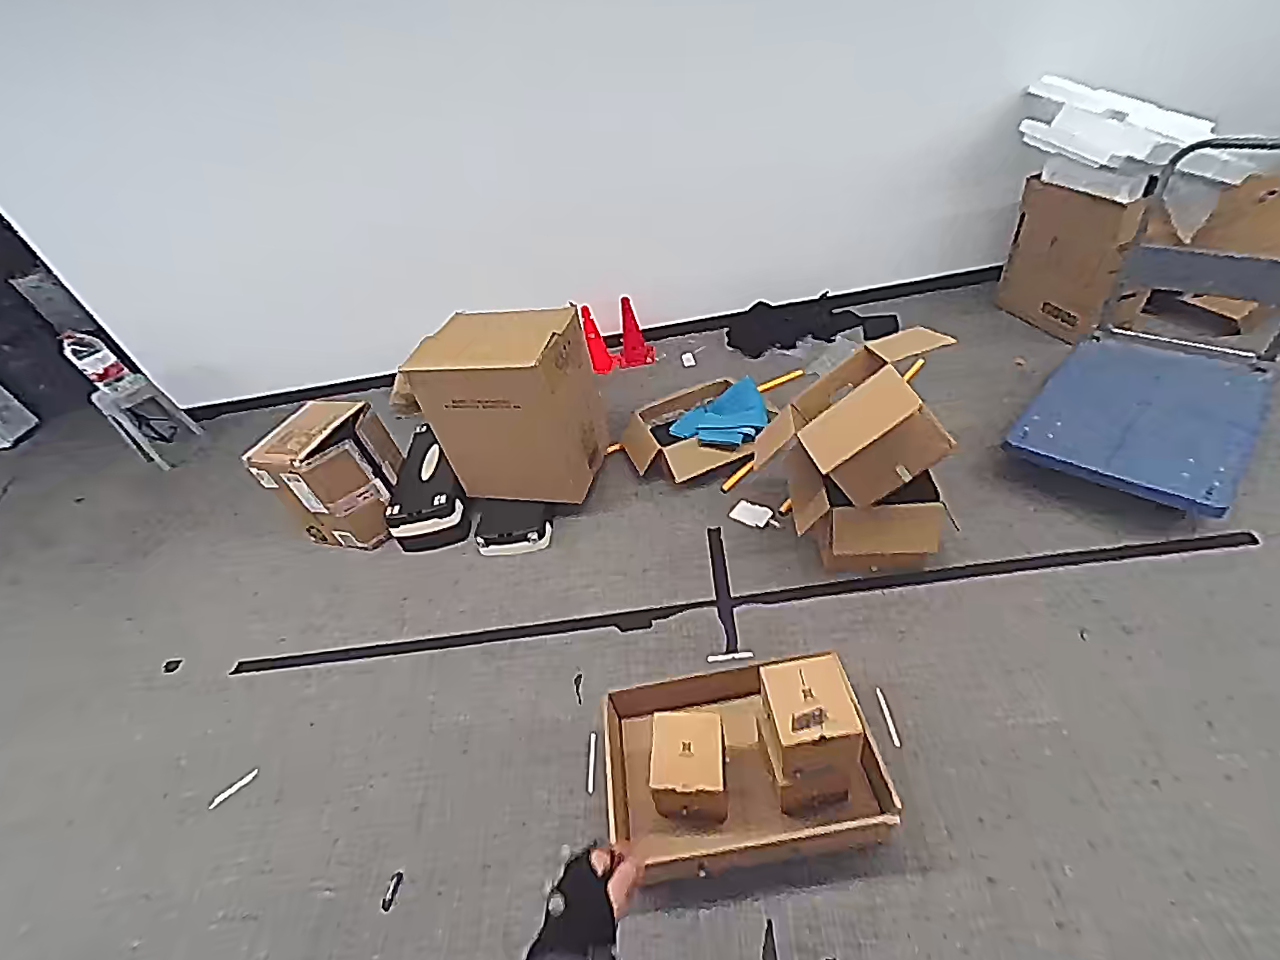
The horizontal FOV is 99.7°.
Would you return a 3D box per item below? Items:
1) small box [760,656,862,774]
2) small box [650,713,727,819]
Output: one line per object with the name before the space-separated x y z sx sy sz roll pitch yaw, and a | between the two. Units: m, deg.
small box | 0.366 0.515 1.174 0.168 0.176 0.179 -11 40 3
small box | 0.121 0.687 1.301 0.168 0.176 0.179 -4 41 9
